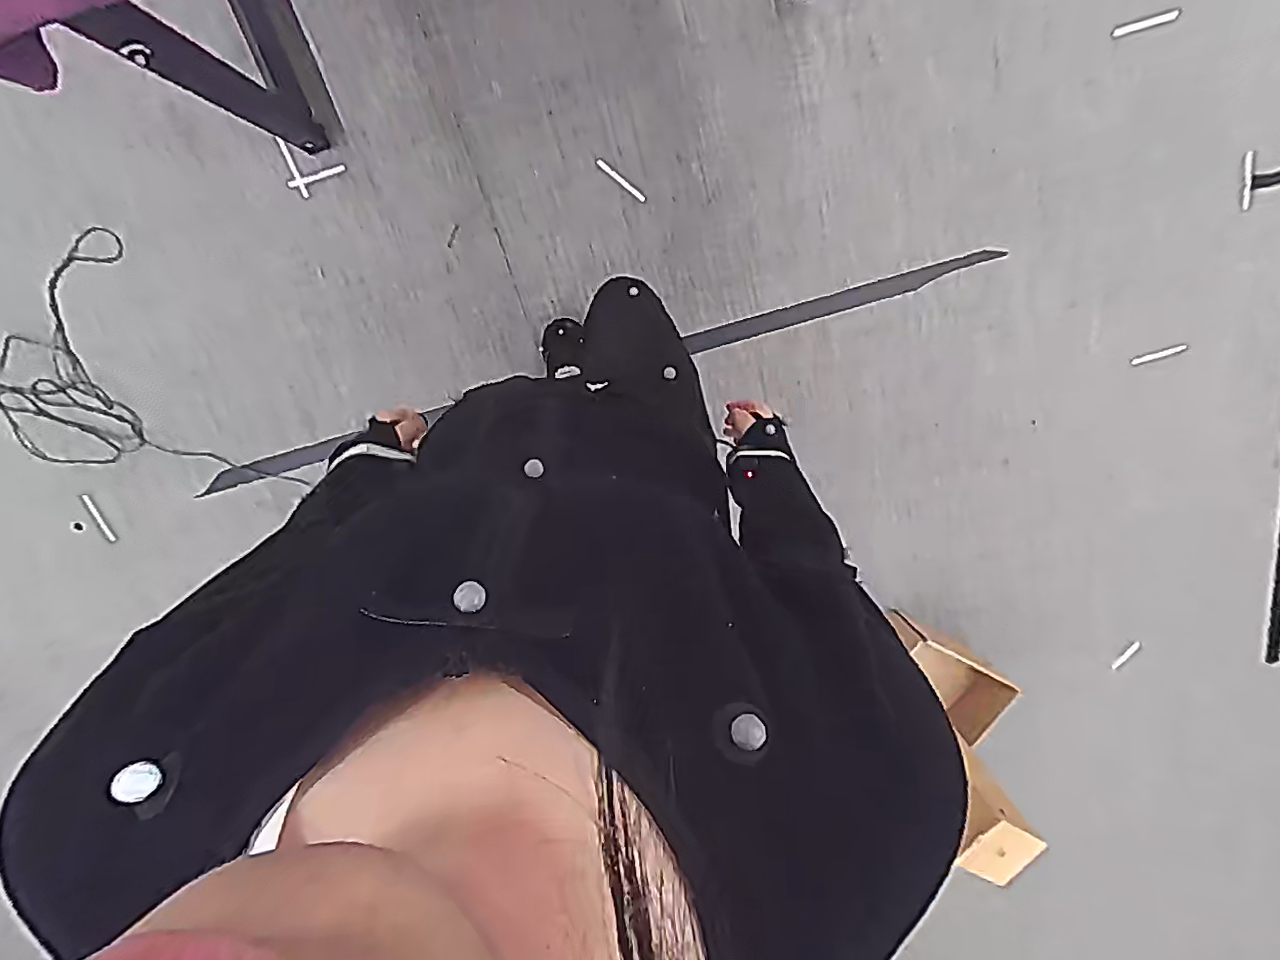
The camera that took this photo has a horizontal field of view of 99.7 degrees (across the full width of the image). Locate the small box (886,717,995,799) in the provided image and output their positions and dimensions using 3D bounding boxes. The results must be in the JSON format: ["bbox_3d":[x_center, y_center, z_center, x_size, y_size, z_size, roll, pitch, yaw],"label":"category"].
[{"bbox_3d":[0.844,0.814,1.540,0.179,0.176,0.168,32,104,-13],"label":"small box"}]

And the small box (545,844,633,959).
[{"bbox_3d":[-0.138,1.134,1.460,0.168,0.176,0.179,33,103,-13],"label":"small box"}]

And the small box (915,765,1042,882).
[{"bbox_3d":[0.860,0.874,1.390,0.179,0.176,0.168,31,104,-14],"label":"small box"}]
